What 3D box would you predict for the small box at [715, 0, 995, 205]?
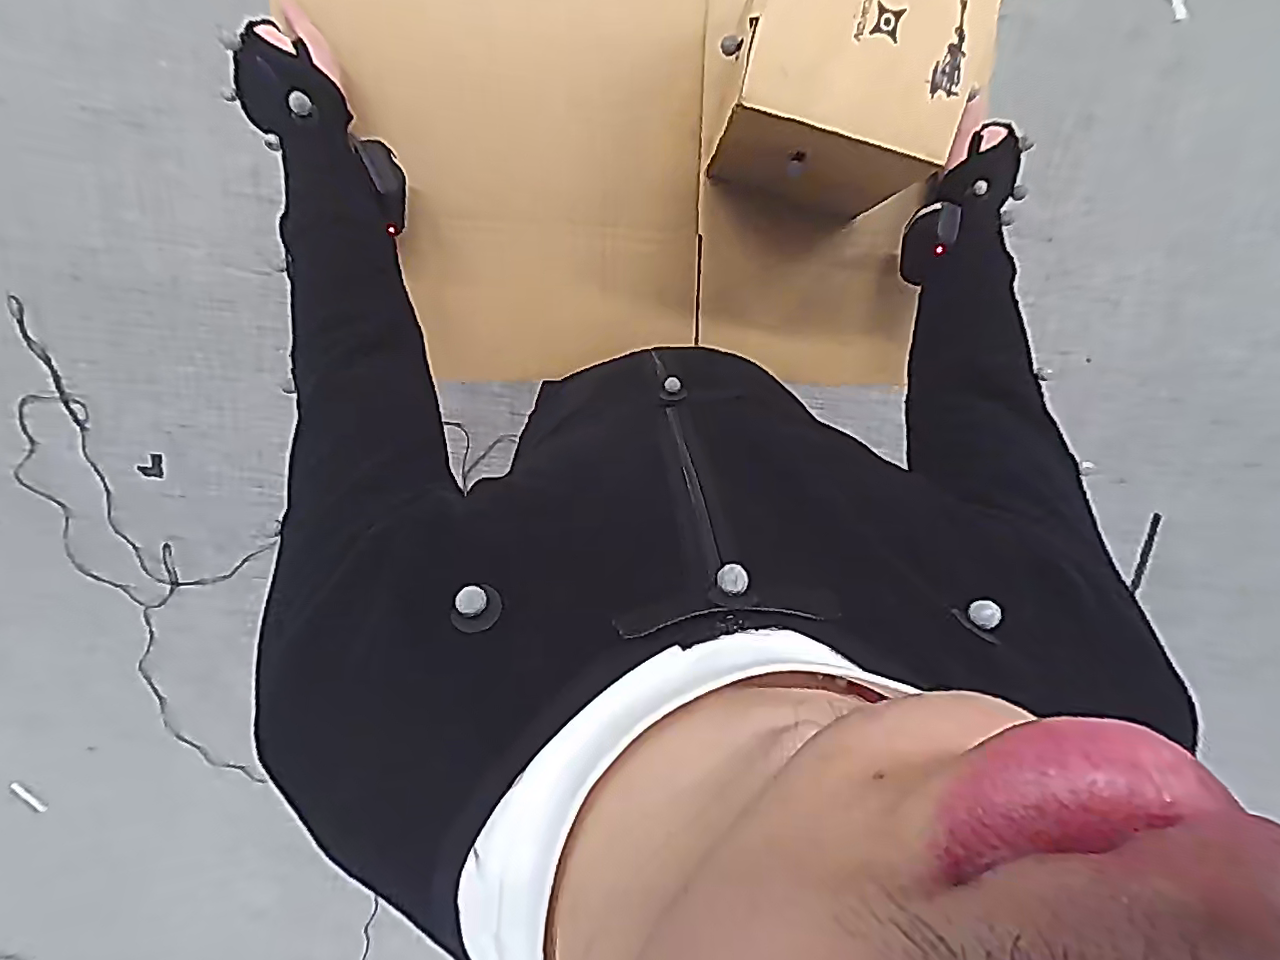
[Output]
[{"bbox_3d":[0.177,-0.371,0.488,0.179,0.176,0.168,13,103,-4],"label":"small box"}]
